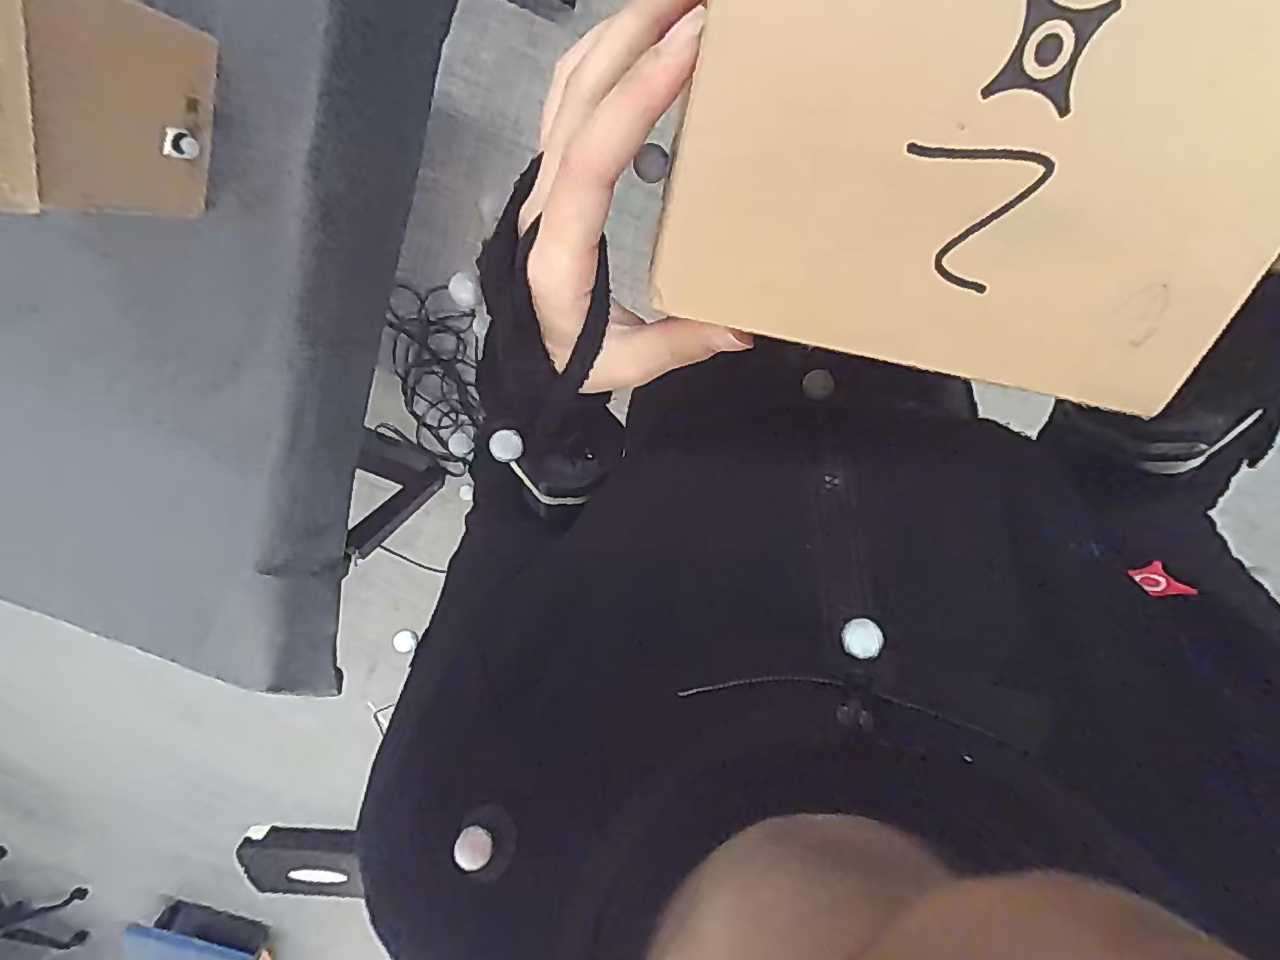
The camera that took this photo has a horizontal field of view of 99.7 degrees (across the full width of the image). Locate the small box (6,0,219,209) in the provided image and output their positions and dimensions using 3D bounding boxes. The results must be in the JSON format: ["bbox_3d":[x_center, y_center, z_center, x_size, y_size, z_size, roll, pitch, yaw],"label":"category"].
[{"bbox_3d":[-0.509,-0.343,0.454,0.179,0.176,0.168,23,115,-4],"label":"small box"}]
